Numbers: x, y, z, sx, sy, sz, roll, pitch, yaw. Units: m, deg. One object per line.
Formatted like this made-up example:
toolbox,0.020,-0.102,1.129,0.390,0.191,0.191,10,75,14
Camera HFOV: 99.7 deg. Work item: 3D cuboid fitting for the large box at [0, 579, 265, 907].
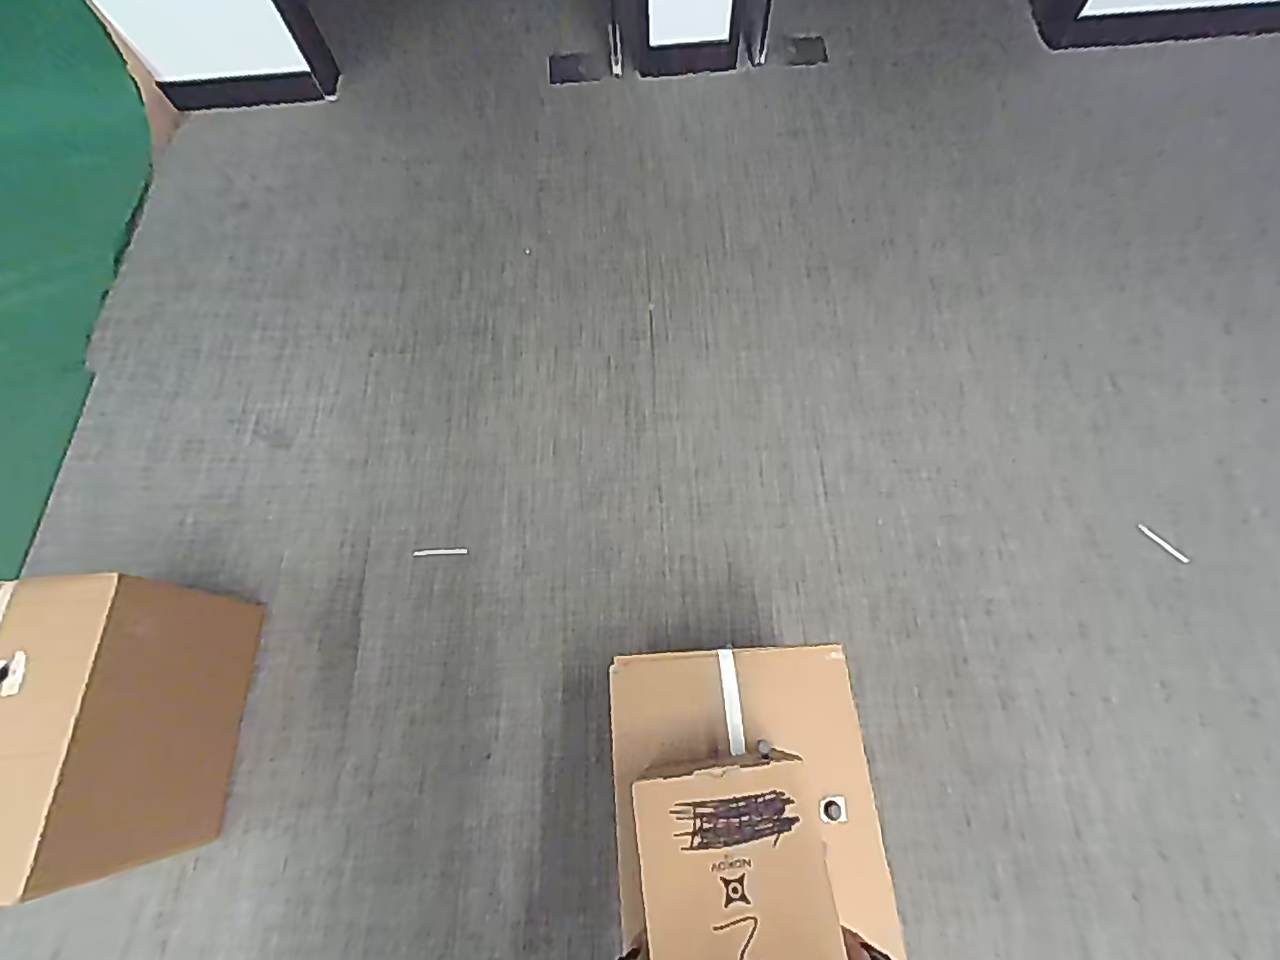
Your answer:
large box,-0.884,0.401,0.865,0.320,0.320,0.408,-4,67,2
